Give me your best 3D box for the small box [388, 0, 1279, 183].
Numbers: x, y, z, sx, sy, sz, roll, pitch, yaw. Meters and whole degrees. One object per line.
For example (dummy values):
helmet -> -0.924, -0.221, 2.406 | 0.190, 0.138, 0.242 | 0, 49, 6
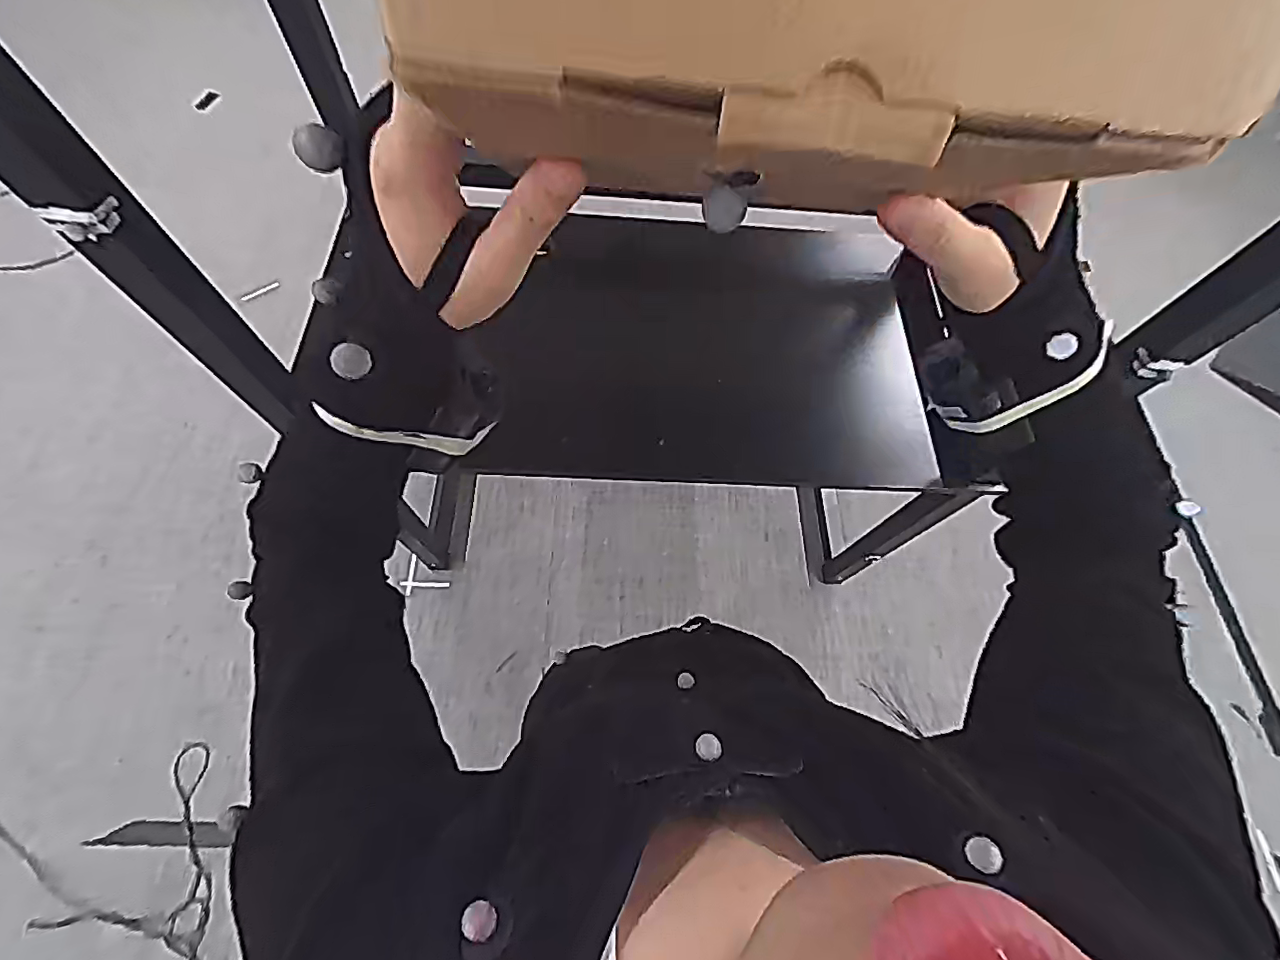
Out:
small box -> 0.041, -0.181, 0.132 | 0.168, 0.179, 0.176 | 2, 24, -6
